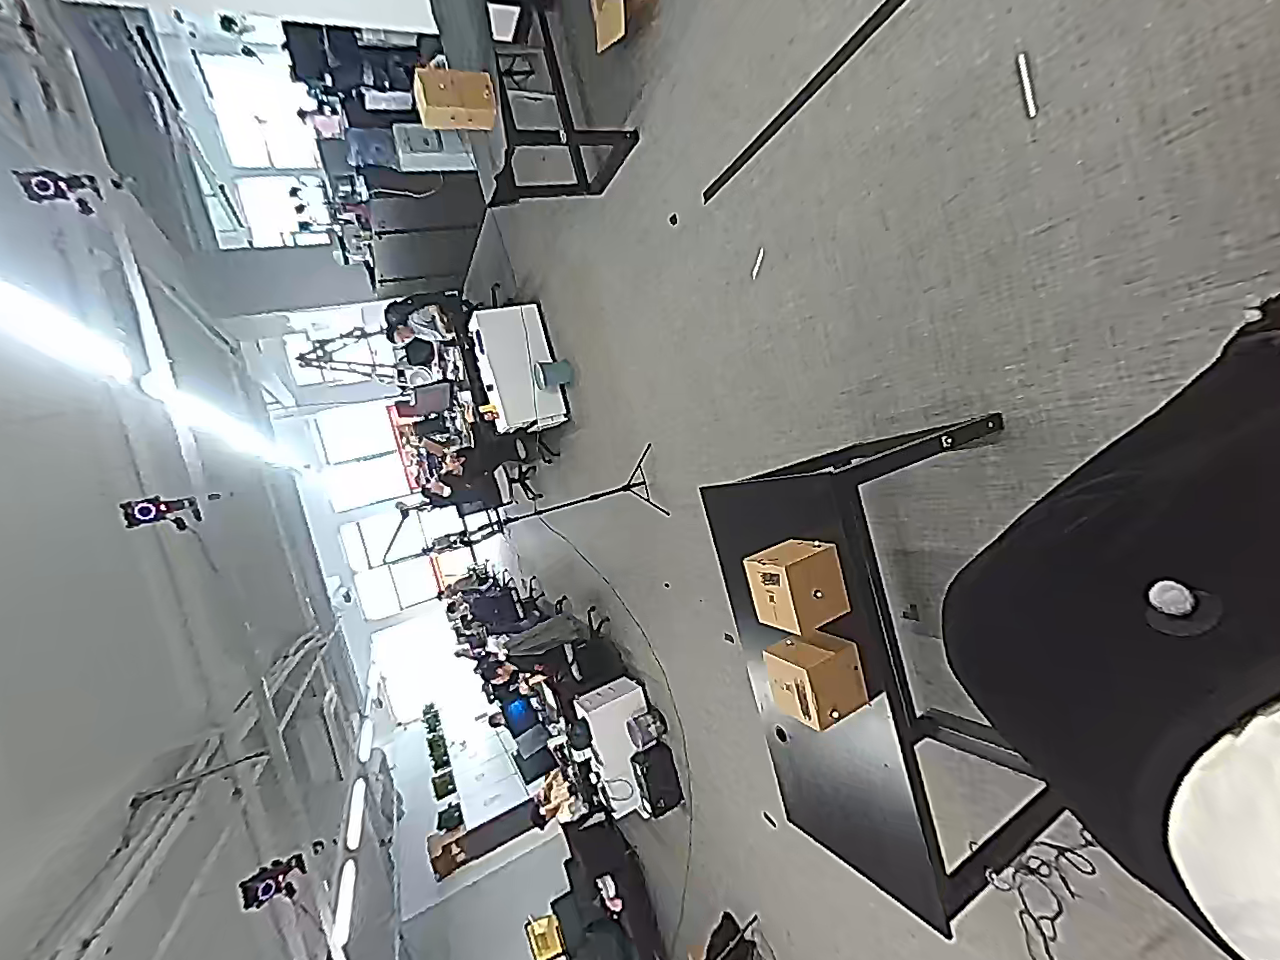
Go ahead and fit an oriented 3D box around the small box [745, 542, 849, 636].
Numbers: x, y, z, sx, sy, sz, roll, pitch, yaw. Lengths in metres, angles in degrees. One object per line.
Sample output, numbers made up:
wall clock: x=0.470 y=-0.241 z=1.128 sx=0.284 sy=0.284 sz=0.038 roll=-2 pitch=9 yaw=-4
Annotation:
small box: x=0.396 y=0.264 z=1.365 sx=0.168 sy=0.176 sz=0.179 roll=-4 pitch=103 yaw=66
